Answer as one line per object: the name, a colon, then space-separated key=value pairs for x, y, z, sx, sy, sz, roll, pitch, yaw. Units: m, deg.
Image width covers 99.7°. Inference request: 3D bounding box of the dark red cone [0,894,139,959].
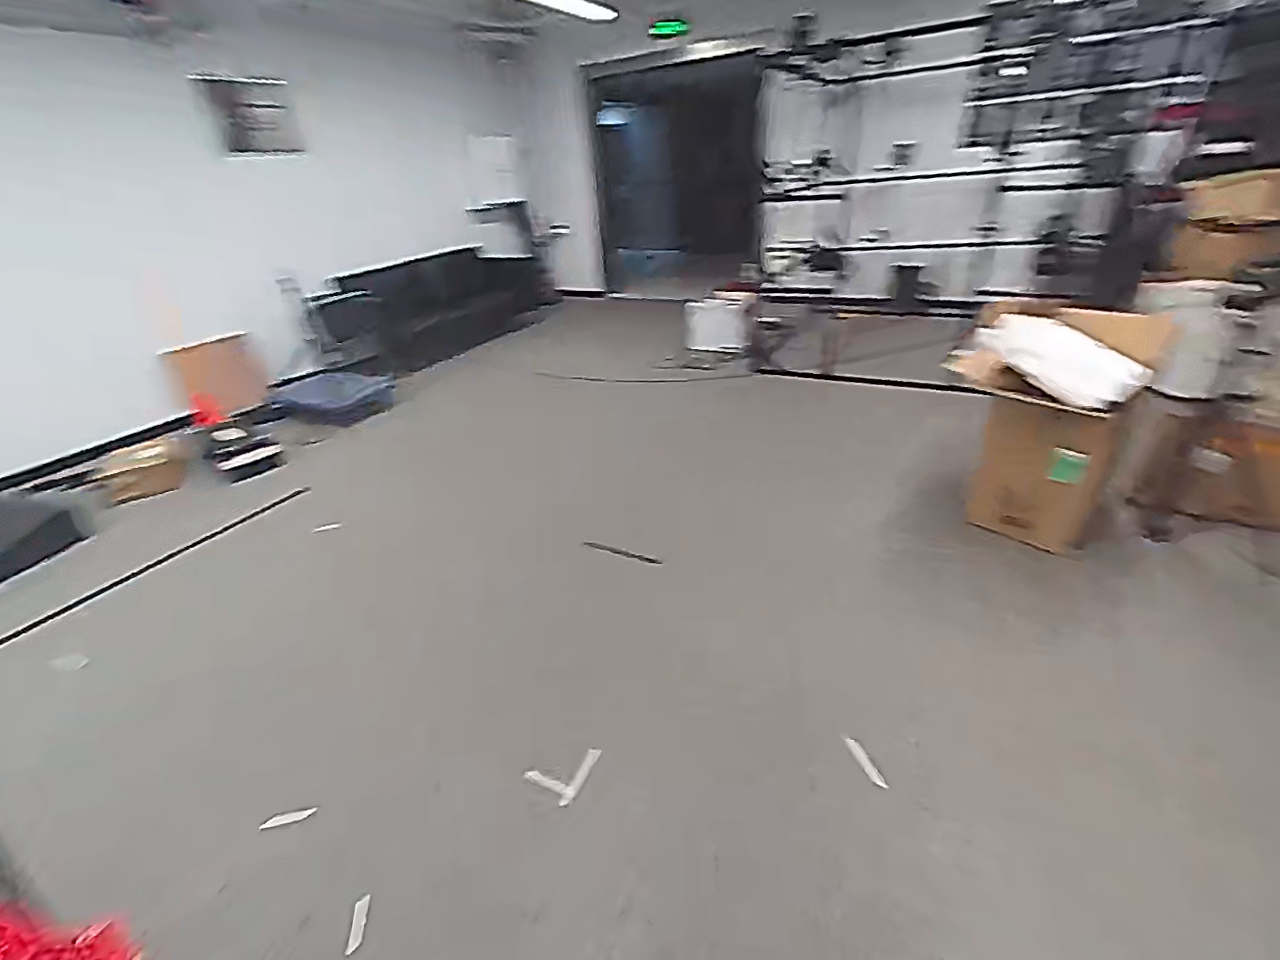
dark red cone: x=-1.252 y=0.929 z=1.092 sx=0.202 sy=0.394 sz=0.201 roll=12 pitch=35 yaw=27
